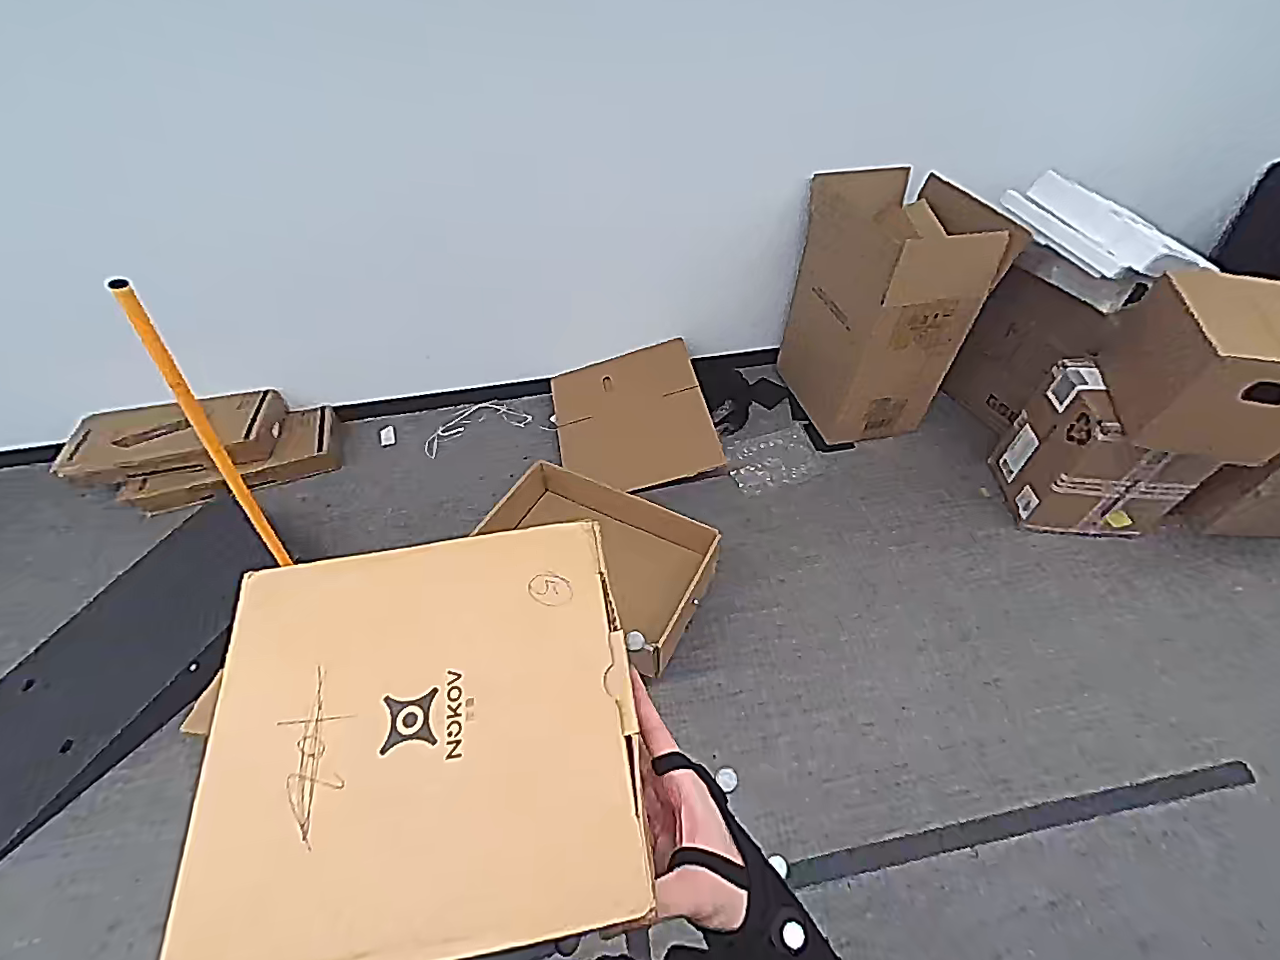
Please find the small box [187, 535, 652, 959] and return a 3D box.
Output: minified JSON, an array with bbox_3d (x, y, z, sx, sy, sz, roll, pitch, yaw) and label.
[{"bbox_3d":[-0.092,0.151,0.310,0.179,0.176,0.168,-9,57,-4],"label":"small box"}]
